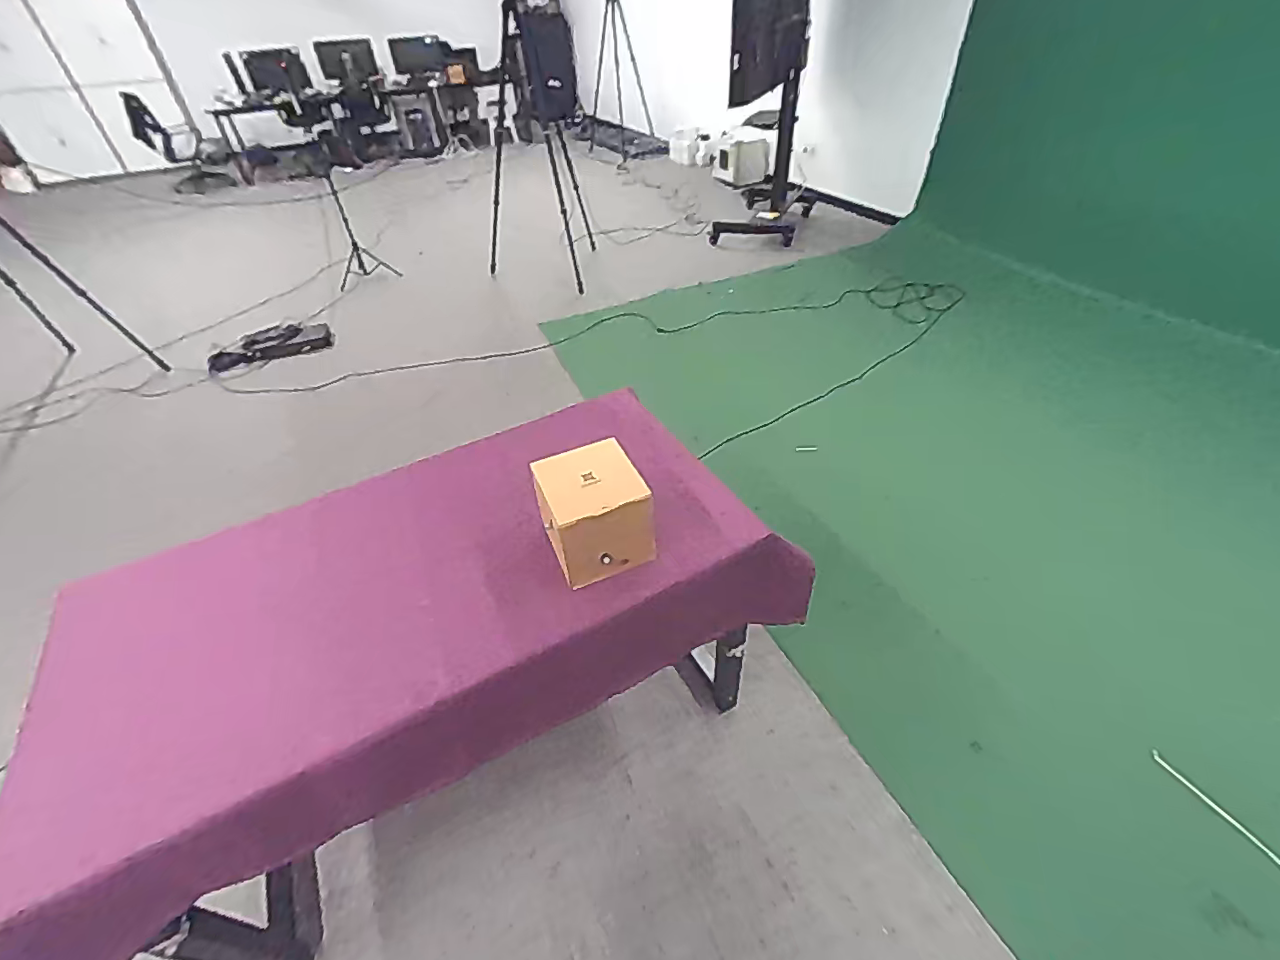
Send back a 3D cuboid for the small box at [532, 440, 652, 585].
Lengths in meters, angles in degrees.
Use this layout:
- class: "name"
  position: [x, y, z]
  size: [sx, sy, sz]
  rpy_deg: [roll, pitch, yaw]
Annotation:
- class: "small box"
  position: [-0.086, 0.058, 0.991]
  size: [0.168, 0.176, 0.179]
  rpy_deg: [-19, 45, -16]
